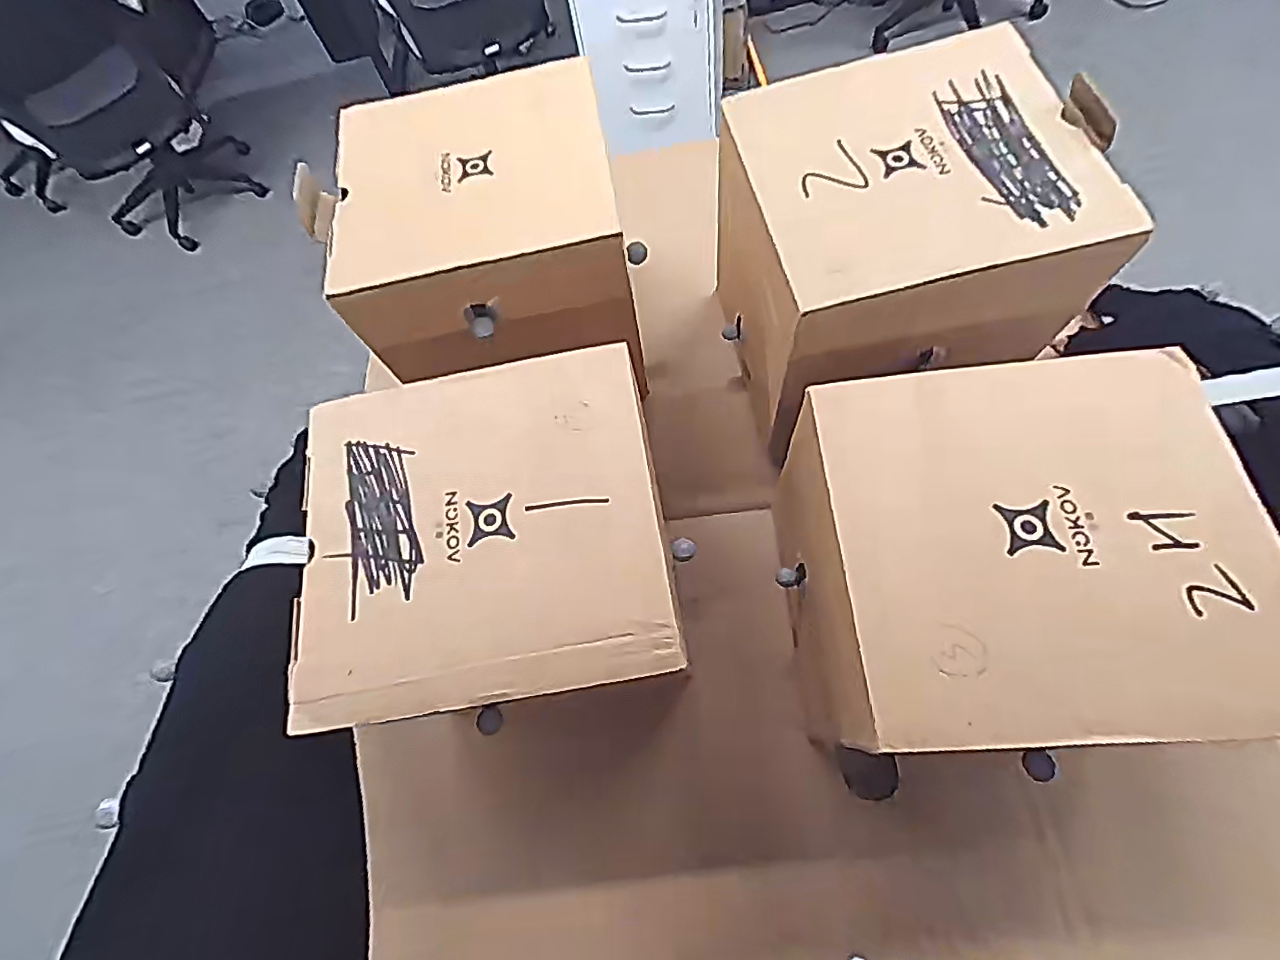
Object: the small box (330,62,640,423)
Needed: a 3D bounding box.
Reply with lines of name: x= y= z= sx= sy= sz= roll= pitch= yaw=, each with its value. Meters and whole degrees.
small box: x=-0.099 y=-0.165 z=0.416 sx=0.179 sy=0.176 sz=0.168 roll=-12 pitch=66 yaw=3
